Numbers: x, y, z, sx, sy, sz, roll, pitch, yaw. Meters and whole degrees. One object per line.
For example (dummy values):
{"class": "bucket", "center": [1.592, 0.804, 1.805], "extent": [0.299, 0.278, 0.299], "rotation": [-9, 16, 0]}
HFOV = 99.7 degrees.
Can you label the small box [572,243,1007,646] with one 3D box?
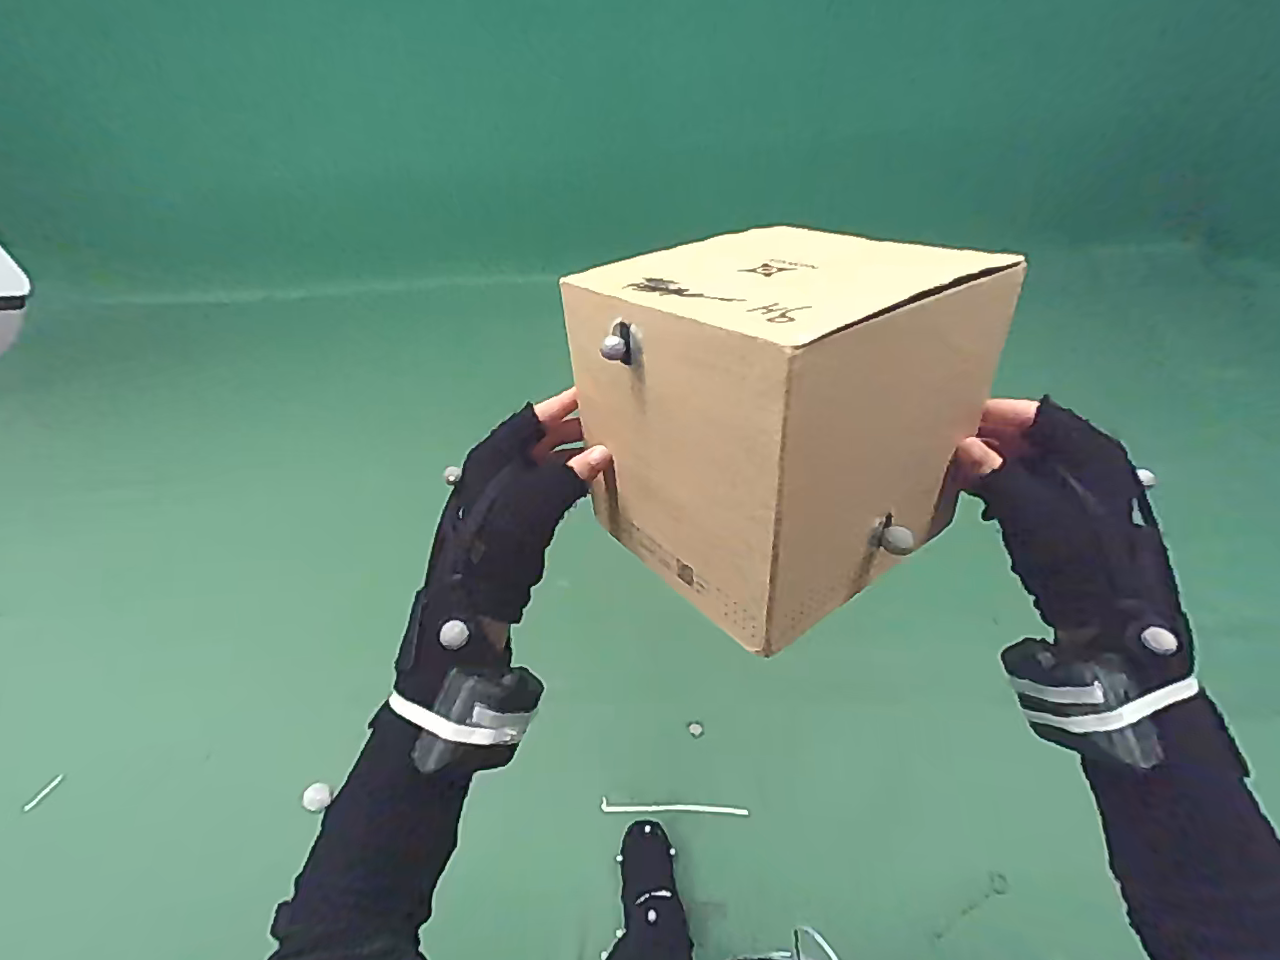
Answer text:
{"class": "small box", "center": [0.078, -0.038, 0.336], "extent": [0.179, 0.176, 0.168], "rotation": [-24, 37, -29]}
